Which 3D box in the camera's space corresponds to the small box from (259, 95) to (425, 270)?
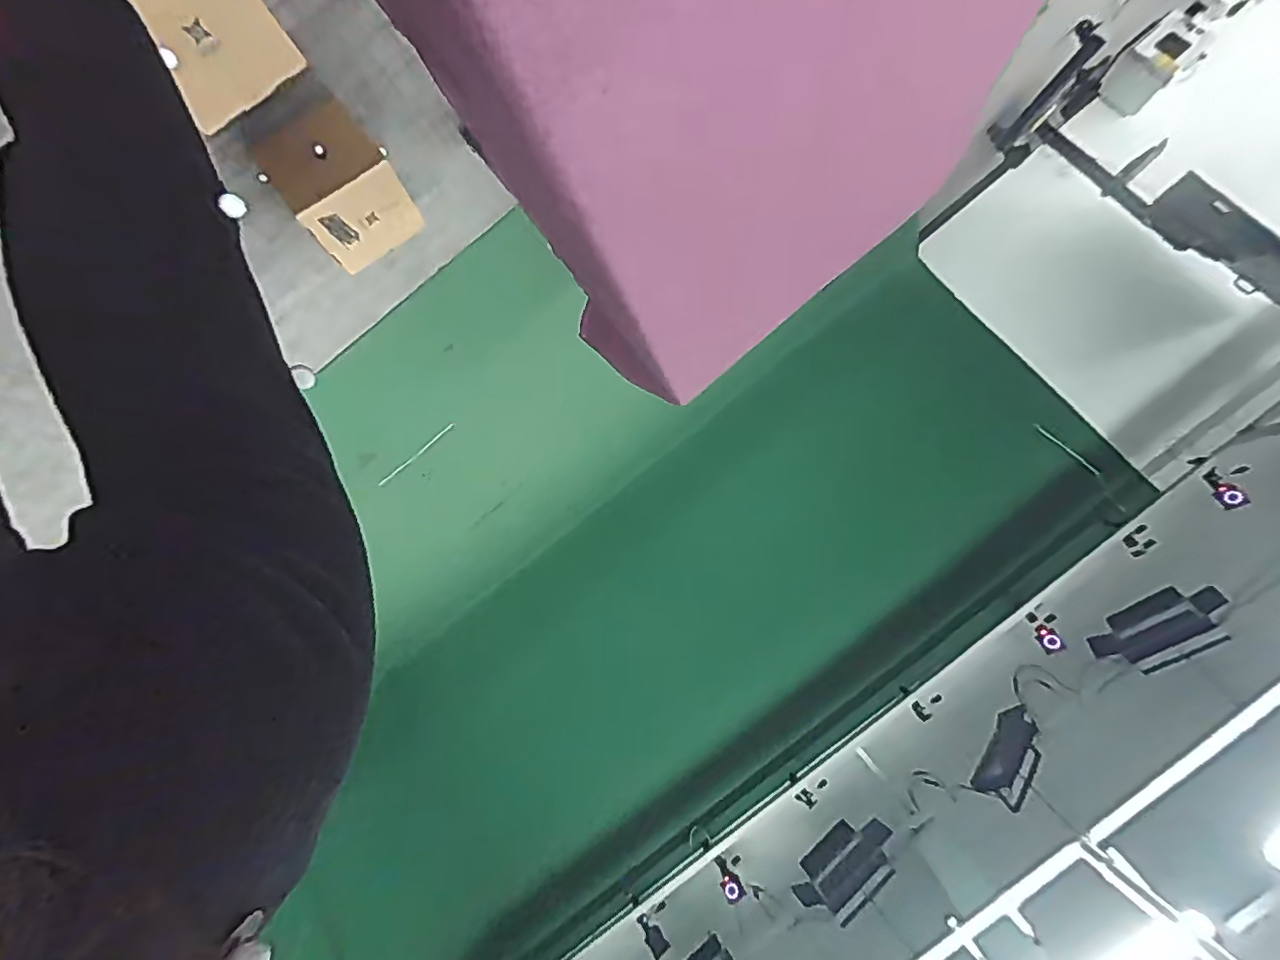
[{"bbox_3d":[-0.528,-0.522,0.958,0.179,0.176,0.168,-38,169,-6],"label":"small box"}]
